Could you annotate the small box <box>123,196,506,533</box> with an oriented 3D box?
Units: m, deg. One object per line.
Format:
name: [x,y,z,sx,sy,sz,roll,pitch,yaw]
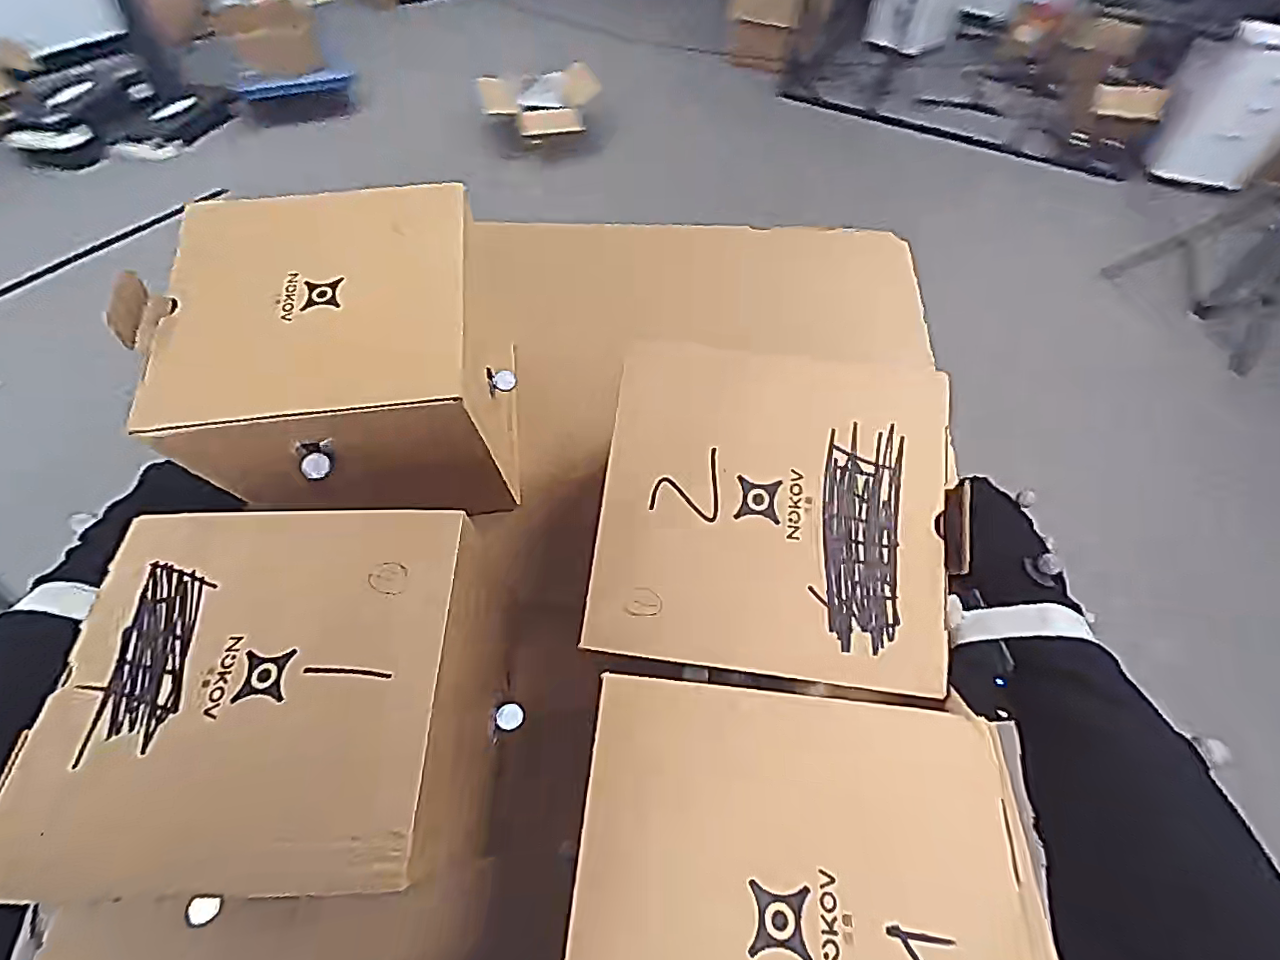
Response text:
small box: [-0.199,-0.071,0.395,0.179,0.176,0.168,-8,66,-3]
